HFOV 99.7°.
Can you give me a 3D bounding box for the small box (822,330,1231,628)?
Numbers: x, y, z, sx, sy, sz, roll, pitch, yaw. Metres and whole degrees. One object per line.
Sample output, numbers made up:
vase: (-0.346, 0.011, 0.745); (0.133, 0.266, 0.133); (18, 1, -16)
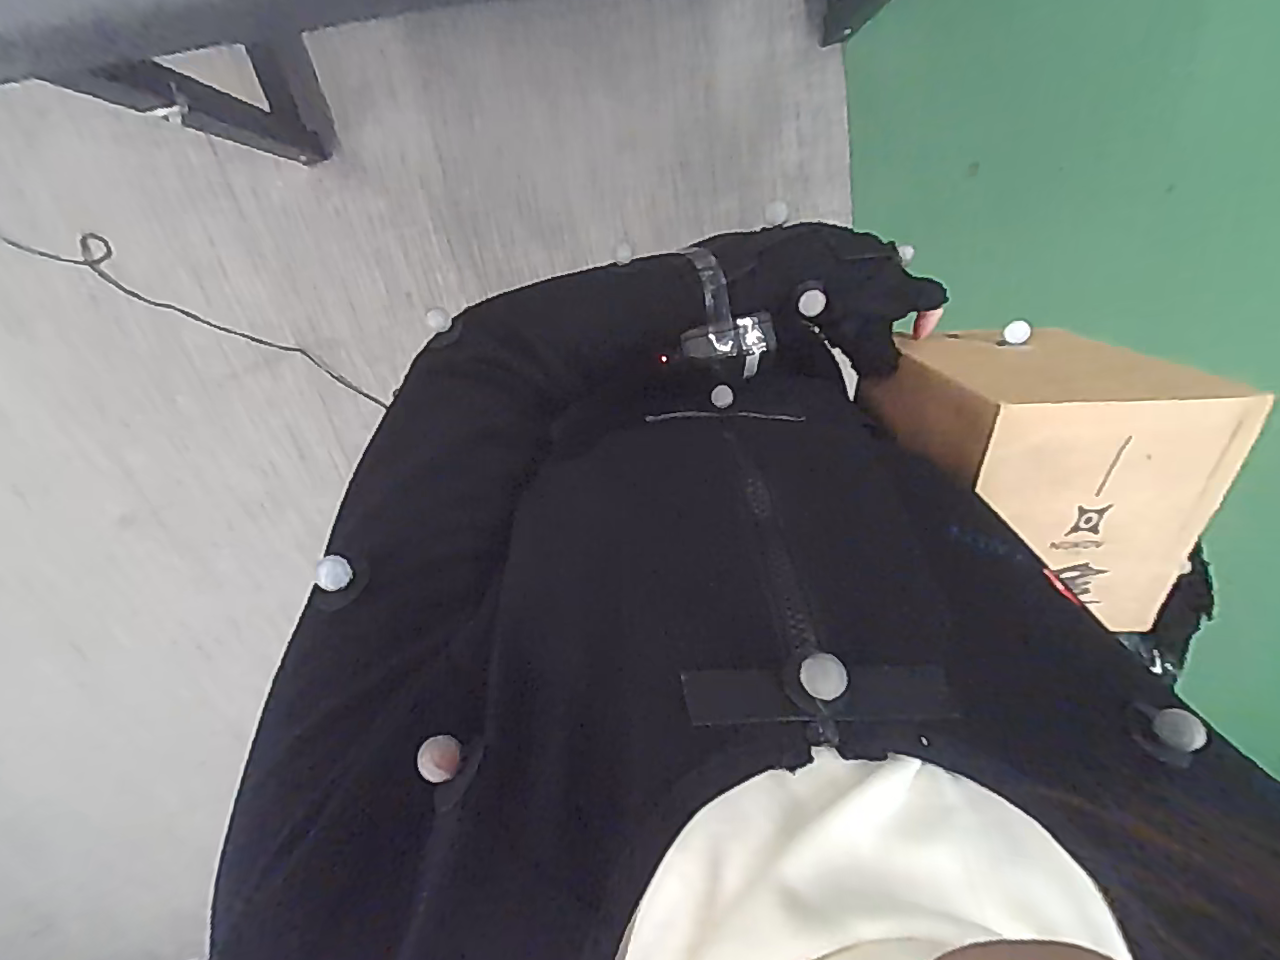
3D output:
small box: (0.259, -0.009, 0.421); (0.168, 0.176, 0.179); (-1, 118, -5)
